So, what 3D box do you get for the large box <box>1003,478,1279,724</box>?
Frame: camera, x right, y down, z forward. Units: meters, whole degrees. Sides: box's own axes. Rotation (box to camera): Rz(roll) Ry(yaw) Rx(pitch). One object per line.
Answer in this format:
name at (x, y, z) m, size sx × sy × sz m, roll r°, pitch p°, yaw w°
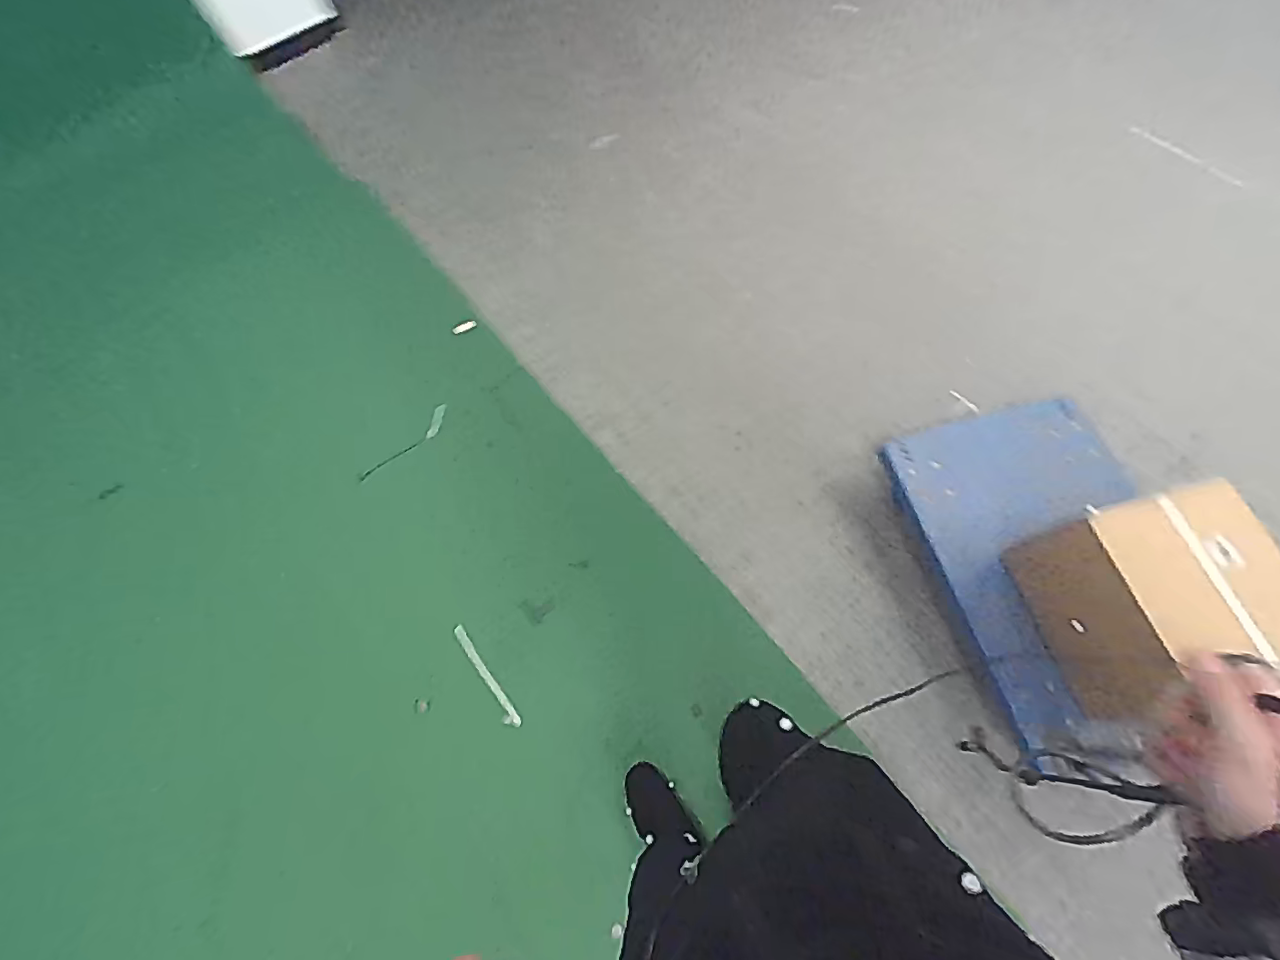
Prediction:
large box at (1.091, 0.265, 1.152) m, size 0.320 × 0.320 × 0.408 m, roll -14°, pitch 67°, yaw -4°
